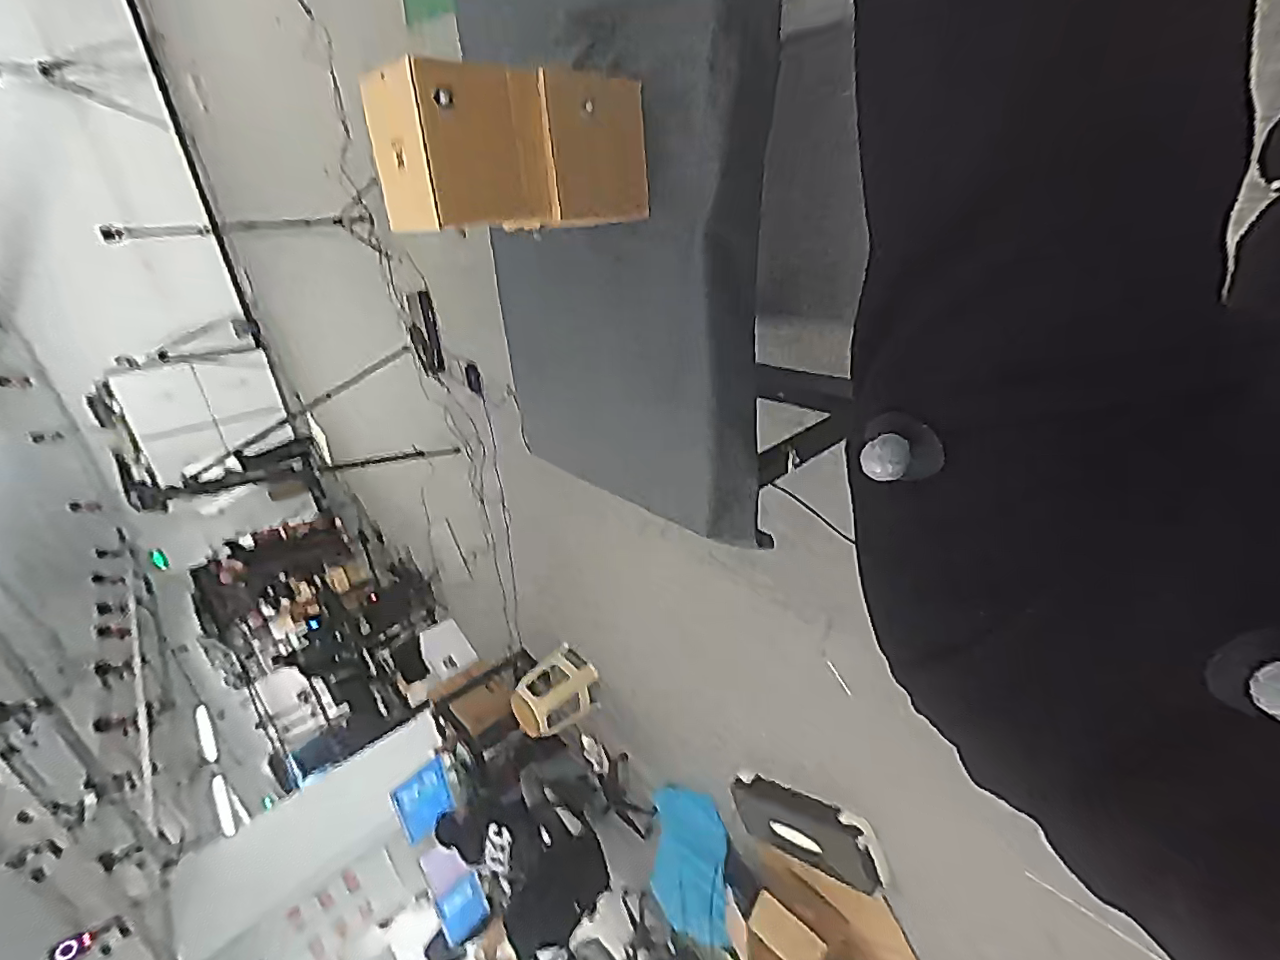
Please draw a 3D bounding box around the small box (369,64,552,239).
[{"bbox_3d":[-0.232,-0.426,0.726,0.168,0.176,0.179,23,126,43],"label":"small box"}]
